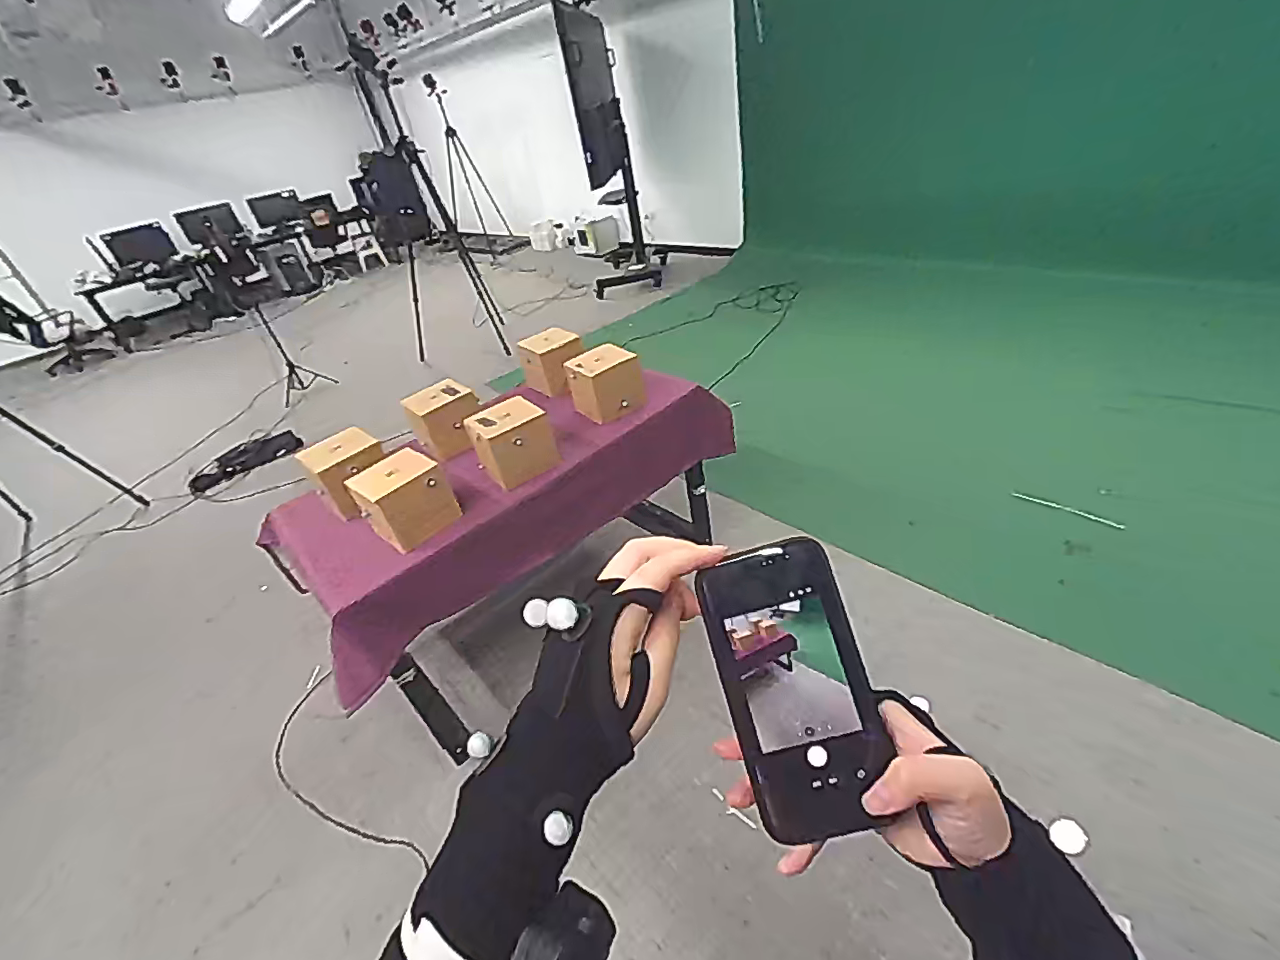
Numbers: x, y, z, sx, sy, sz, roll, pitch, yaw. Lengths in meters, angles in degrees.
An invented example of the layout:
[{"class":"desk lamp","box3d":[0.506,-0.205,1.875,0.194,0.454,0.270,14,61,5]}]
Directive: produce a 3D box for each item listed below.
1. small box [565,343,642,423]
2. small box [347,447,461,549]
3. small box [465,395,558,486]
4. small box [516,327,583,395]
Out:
[{"class":"small box","box3d":[-0.108,-0.305,1.695,0.179,0.176,0.168,-30,39,-24]},{"class":"small box","box3d":[-0.585,0.045,1.354,0.168,0.176,0.179,20,45,37]},{"class":"small box","box3d":[-0.350,-0.108,1.495,0.179,0.176,0.168,-30,39,-25]},{"class":"small box","box3d":[-0.309,-0.420,1.907,0.168,0.176,0.179,-33,41,-26]}]
